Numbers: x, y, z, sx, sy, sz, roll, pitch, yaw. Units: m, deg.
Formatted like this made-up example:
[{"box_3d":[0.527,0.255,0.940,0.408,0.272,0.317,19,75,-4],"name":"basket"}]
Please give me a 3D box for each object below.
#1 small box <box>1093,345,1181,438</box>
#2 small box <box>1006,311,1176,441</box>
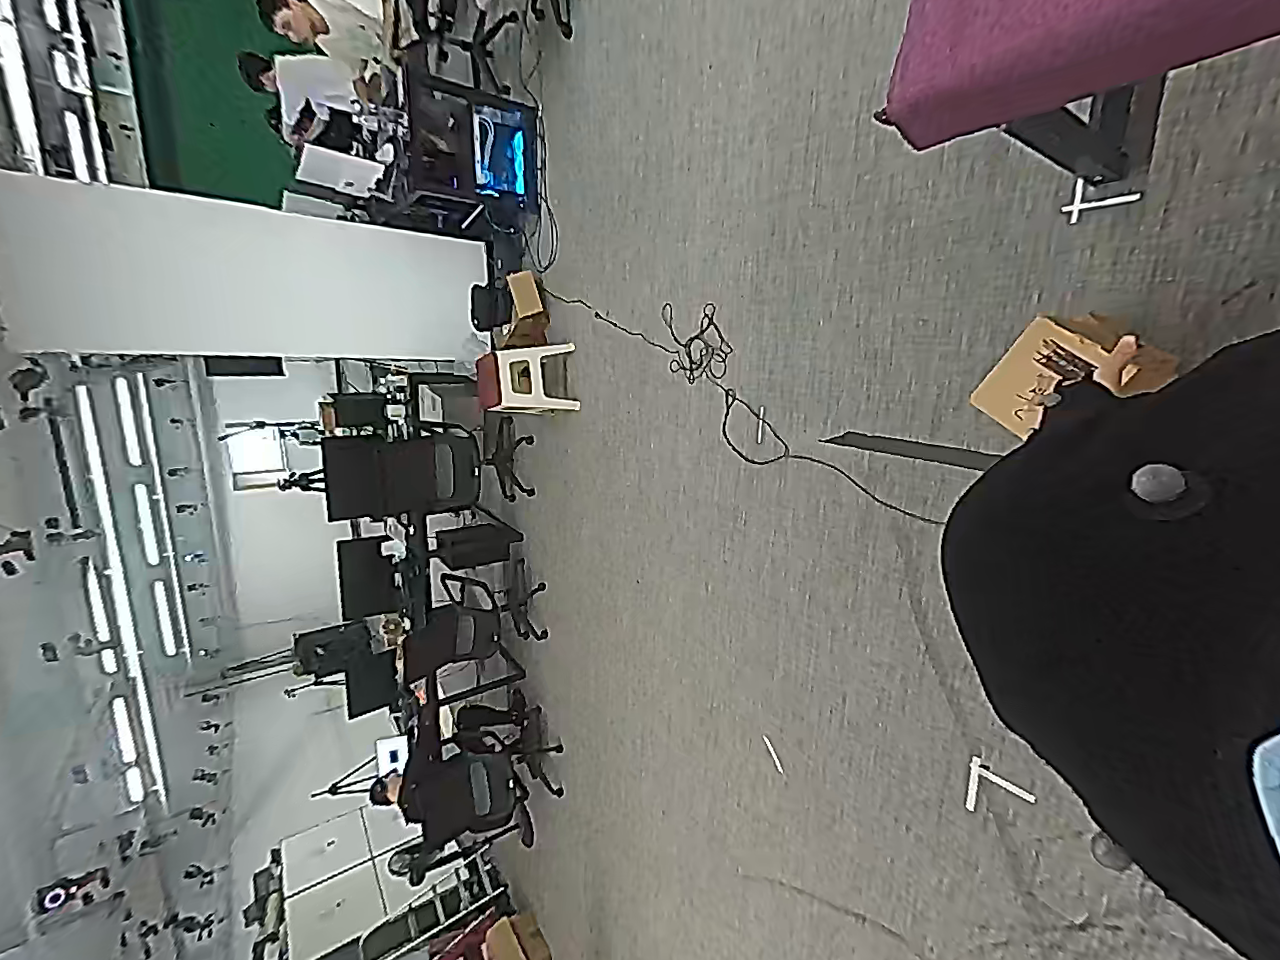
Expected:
[{"box_3d":[0.976,-0.207,1.139,0.168,0.176,0.179,46,131,40],"name":"small box"},{"box_3d":[0.856,-0.195,1.025,0.179,0.176,0.168,-53,54,45],"name":"small box"}]
